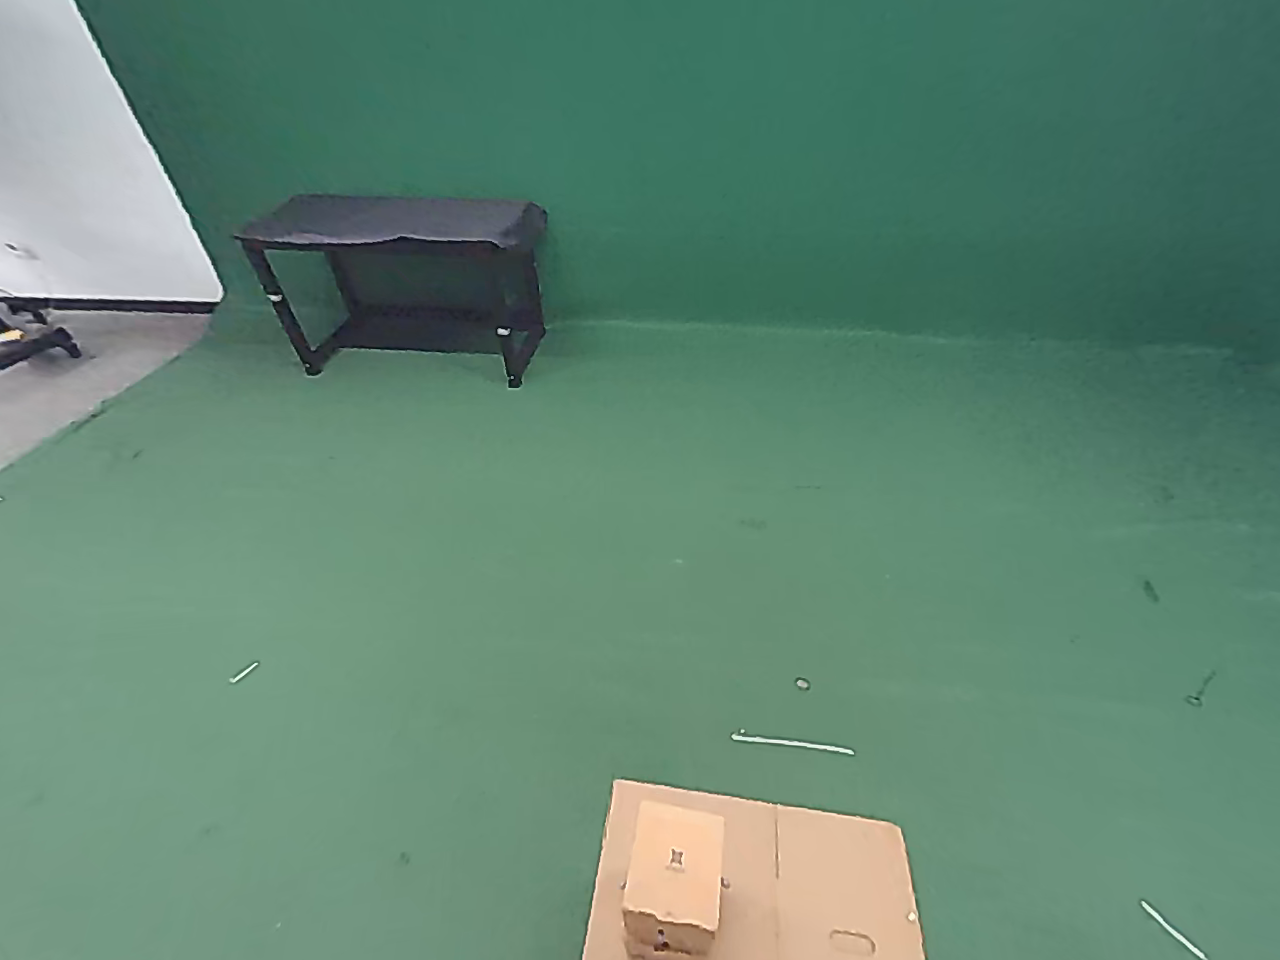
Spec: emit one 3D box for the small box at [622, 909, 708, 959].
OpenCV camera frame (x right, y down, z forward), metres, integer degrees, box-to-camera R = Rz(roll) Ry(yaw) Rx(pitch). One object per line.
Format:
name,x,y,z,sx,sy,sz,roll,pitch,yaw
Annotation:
small box,0.063,0.870,1.115,0.168,0.176,0.179,5,41,9

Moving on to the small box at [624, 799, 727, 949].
small box,0.067,0.740,1.017,0.168,0.176,0.179,7,42,9
